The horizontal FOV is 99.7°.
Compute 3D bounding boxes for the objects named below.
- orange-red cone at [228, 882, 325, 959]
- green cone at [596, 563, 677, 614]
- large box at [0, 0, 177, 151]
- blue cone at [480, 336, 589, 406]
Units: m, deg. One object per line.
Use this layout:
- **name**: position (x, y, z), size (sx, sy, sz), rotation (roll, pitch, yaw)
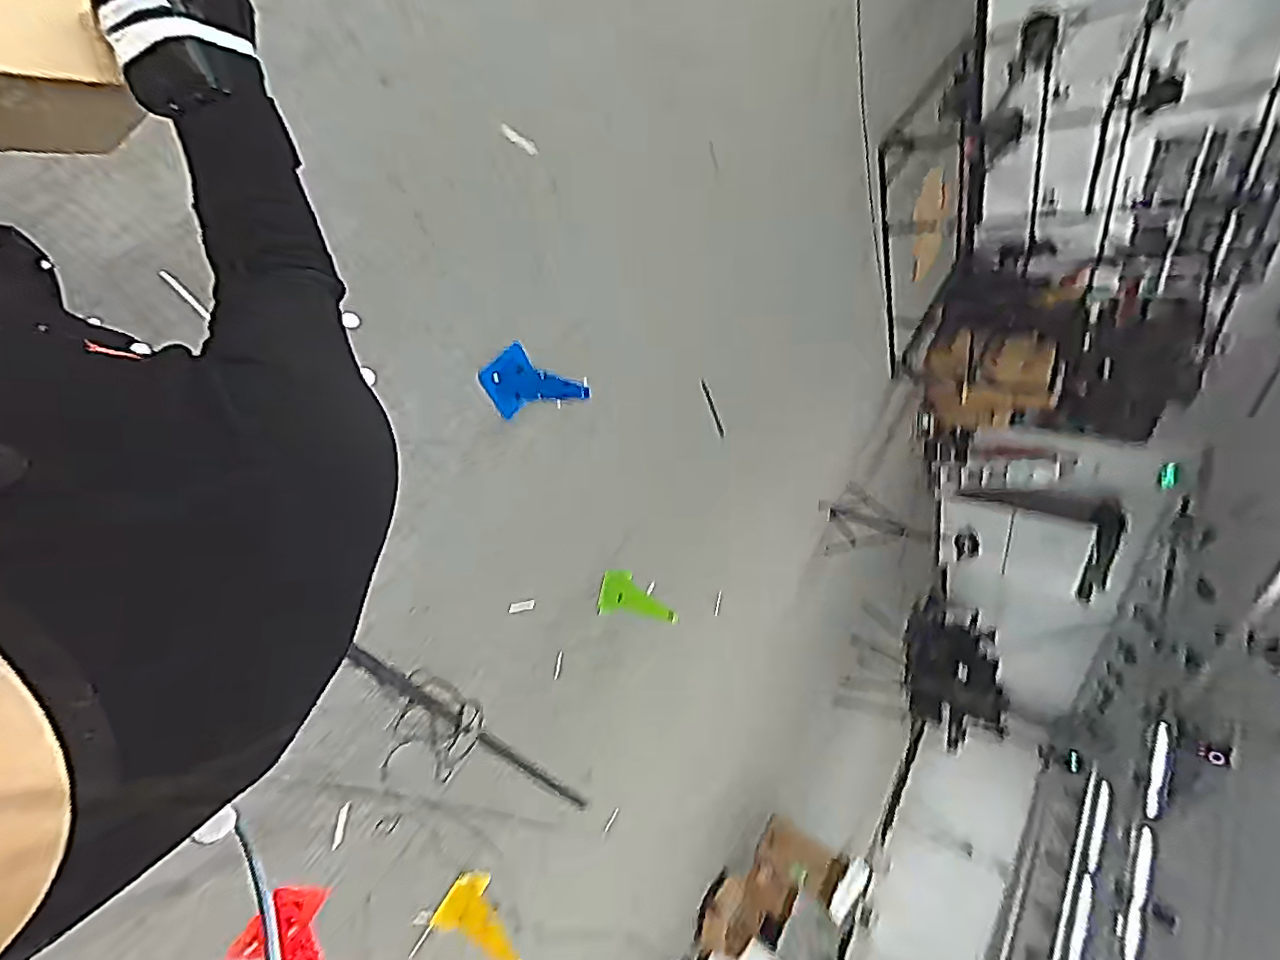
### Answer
- **orange-red cone**: position (-0.935, 1.335, 1.494), size (0.198, 0.360, 0.199), rotation (-54, 140, -23)
- **green cone**: position (0.008, 0.518, 2.393), size (0.200, 0.368, 0.202), rotation (7, 95, -53)
- **large box**: position (-0.578, -0.379, 0.279), size (0.408, 0.320, 0.320), rotation (-28, 125, -43)
- **blue cone**: position (-0.314, -0.329, 1.715), size (0.192, 0.380, 0.193), rotation (-52, 138, -28)
